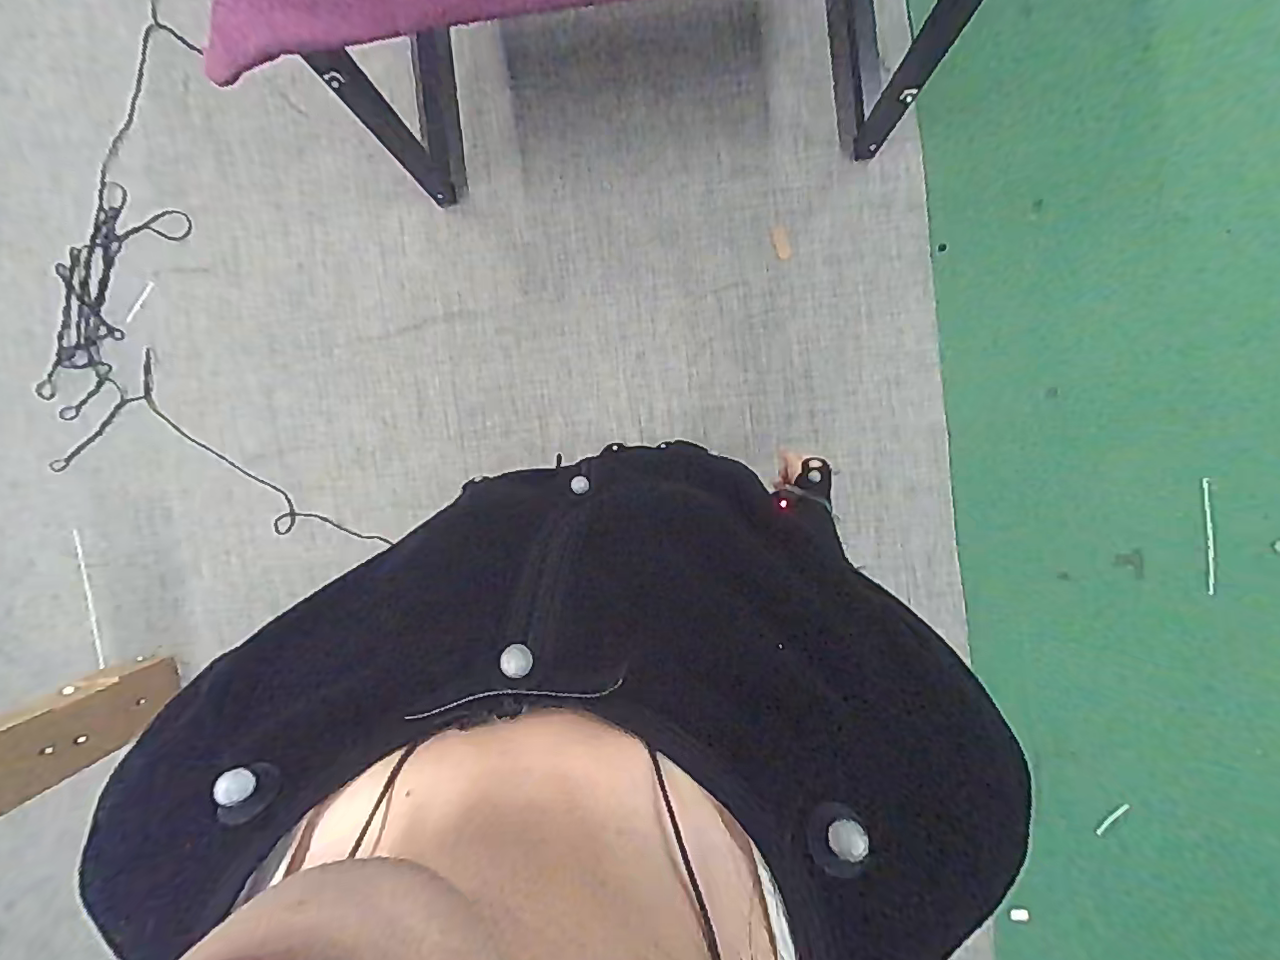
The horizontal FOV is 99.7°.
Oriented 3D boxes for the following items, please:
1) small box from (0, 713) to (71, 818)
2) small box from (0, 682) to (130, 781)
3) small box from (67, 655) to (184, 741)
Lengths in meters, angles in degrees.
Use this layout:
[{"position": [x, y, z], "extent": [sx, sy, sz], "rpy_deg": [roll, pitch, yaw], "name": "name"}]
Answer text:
[{"position": [-1.445, 0.642, 1.207], "extent": [0.168, 0.176, 0.179], "rpy_deg": [-10, 92, 3], "name": "small box"}, {"position": [-1.452, 0.639, 1.370], "extent": [0.168, 0.176, 0.179], "rpy_deg": [-8, 93, 2], "name": "small box"}, {"position": [-1.445, 0.620, 1.533], "extent": [0.168, 0.176, 0.179], "rpy_deg": [-8, 92, 3], "name": "small box"}]
